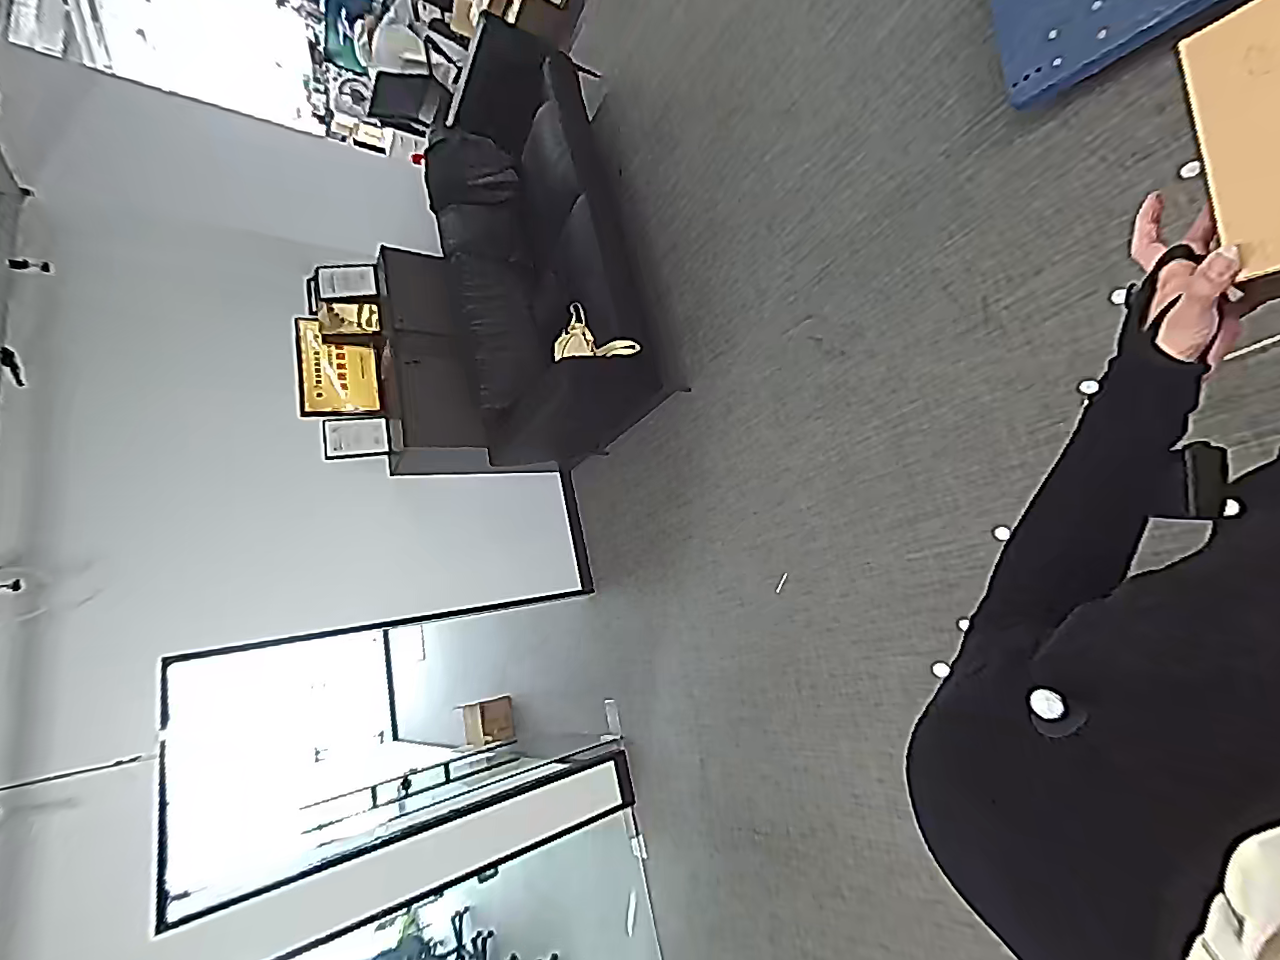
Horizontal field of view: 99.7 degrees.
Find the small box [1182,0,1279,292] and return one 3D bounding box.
[{"bbox_3d":[0.507,-0.246,0.366,0.168,0.176,0.179,-11,88,54],"label":"small box"}]
